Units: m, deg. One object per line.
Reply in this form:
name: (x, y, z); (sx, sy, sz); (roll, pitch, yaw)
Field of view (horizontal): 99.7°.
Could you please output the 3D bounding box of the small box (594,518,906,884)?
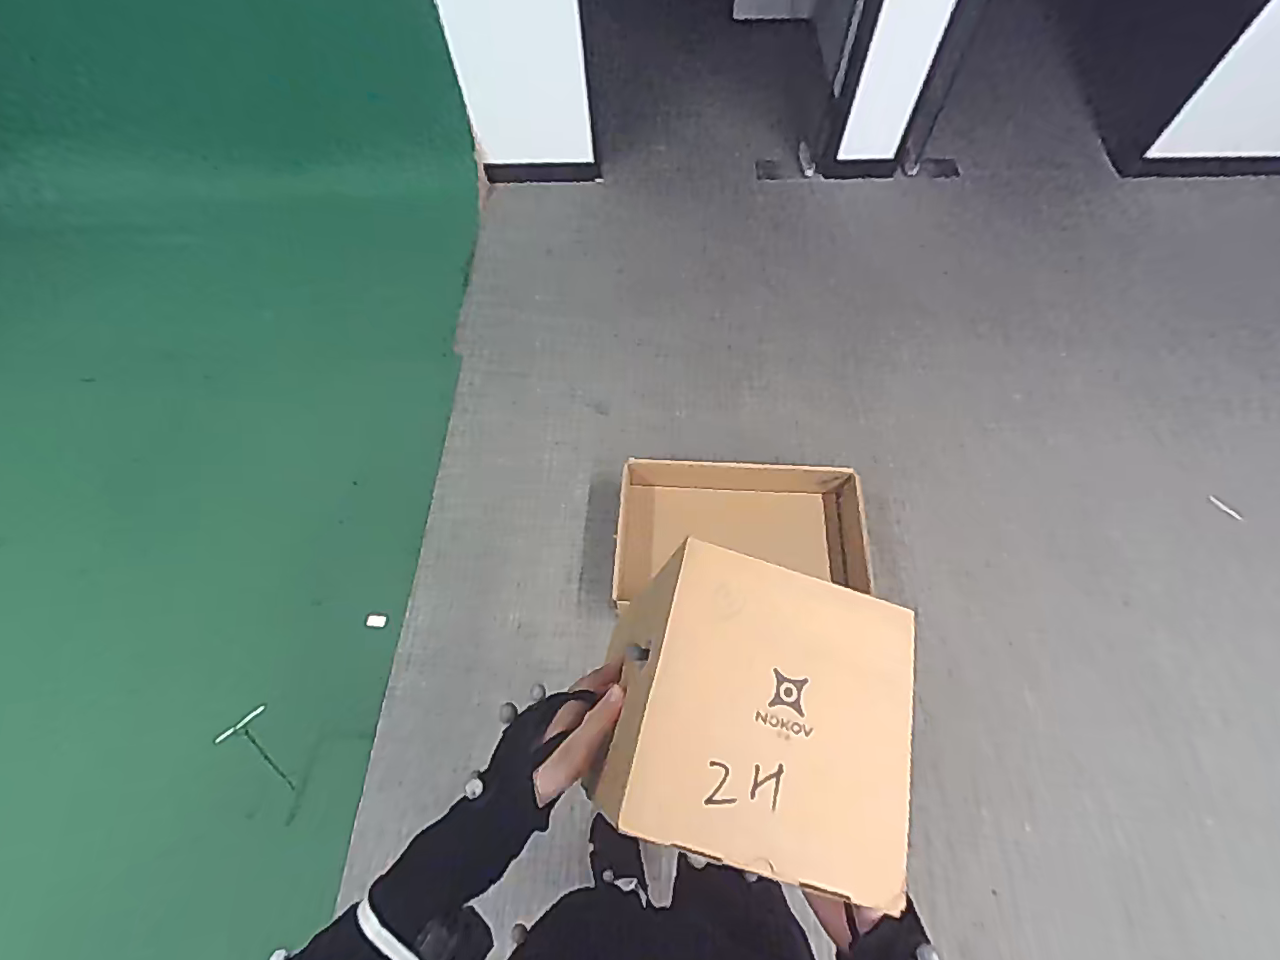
small box: (0.070, 0.157, 0.406); (0.168, 0.176, 0.179); (19, 64, -1)
